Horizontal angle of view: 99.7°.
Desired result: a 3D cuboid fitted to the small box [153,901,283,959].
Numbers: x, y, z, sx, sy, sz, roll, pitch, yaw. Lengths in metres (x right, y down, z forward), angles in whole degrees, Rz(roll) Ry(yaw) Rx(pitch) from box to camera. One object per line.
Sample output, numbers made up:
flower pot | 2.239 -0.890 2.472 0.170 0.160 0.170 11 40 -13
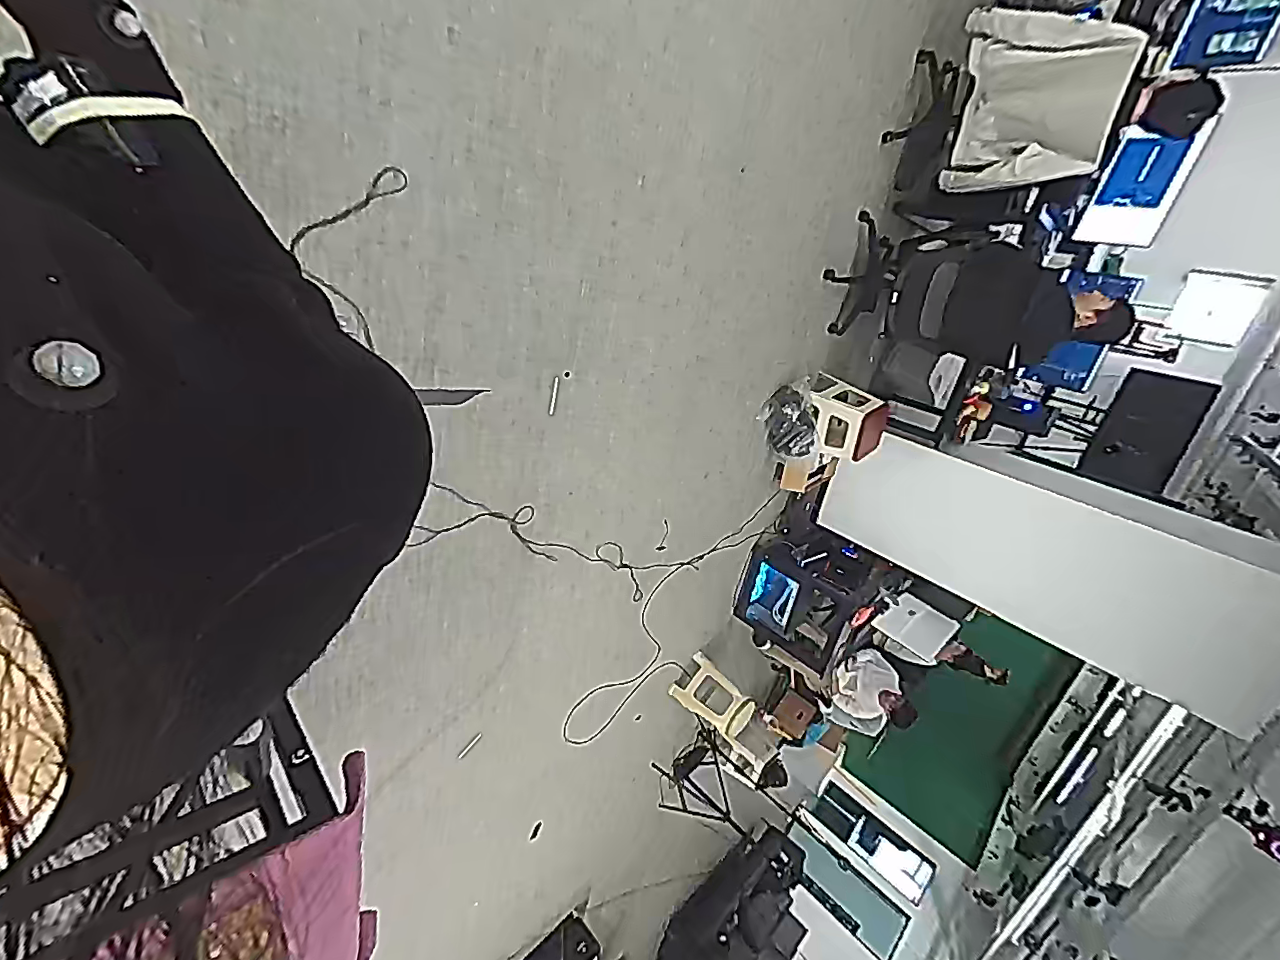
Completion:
small box | -0.698 0.870 0.905 0.168 0.176 0.179 -14 124 -45
